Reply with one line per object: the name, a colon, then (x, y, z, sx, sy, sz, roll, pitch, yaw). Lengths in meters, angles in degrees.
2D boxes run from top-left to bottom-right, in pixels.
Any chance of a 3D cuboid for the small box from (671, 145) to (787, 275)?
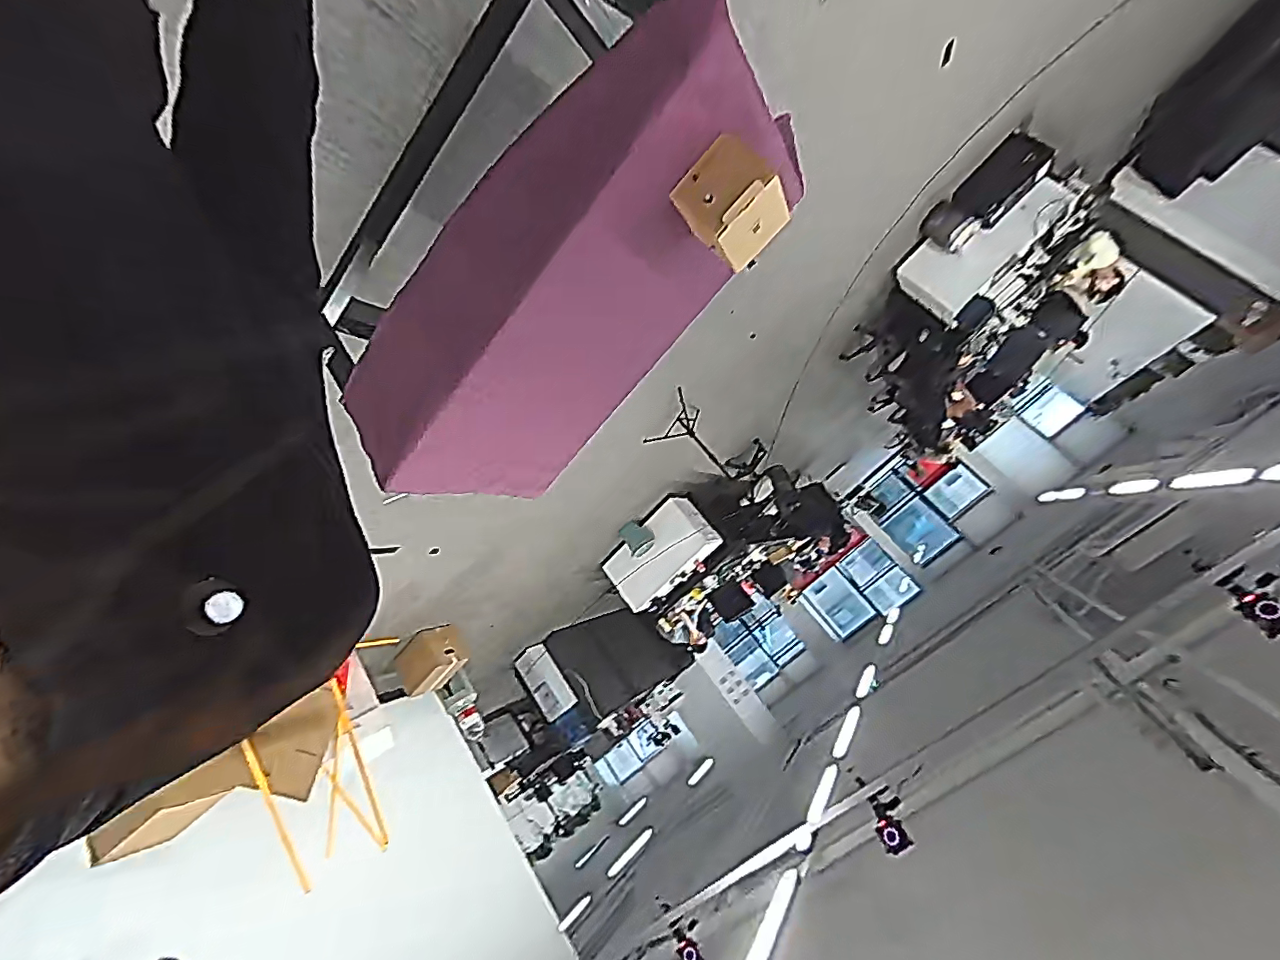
small box: (0.197, -0.602, 1.202, 0.168, 0.176, 0.179, -44, 159, 14)
